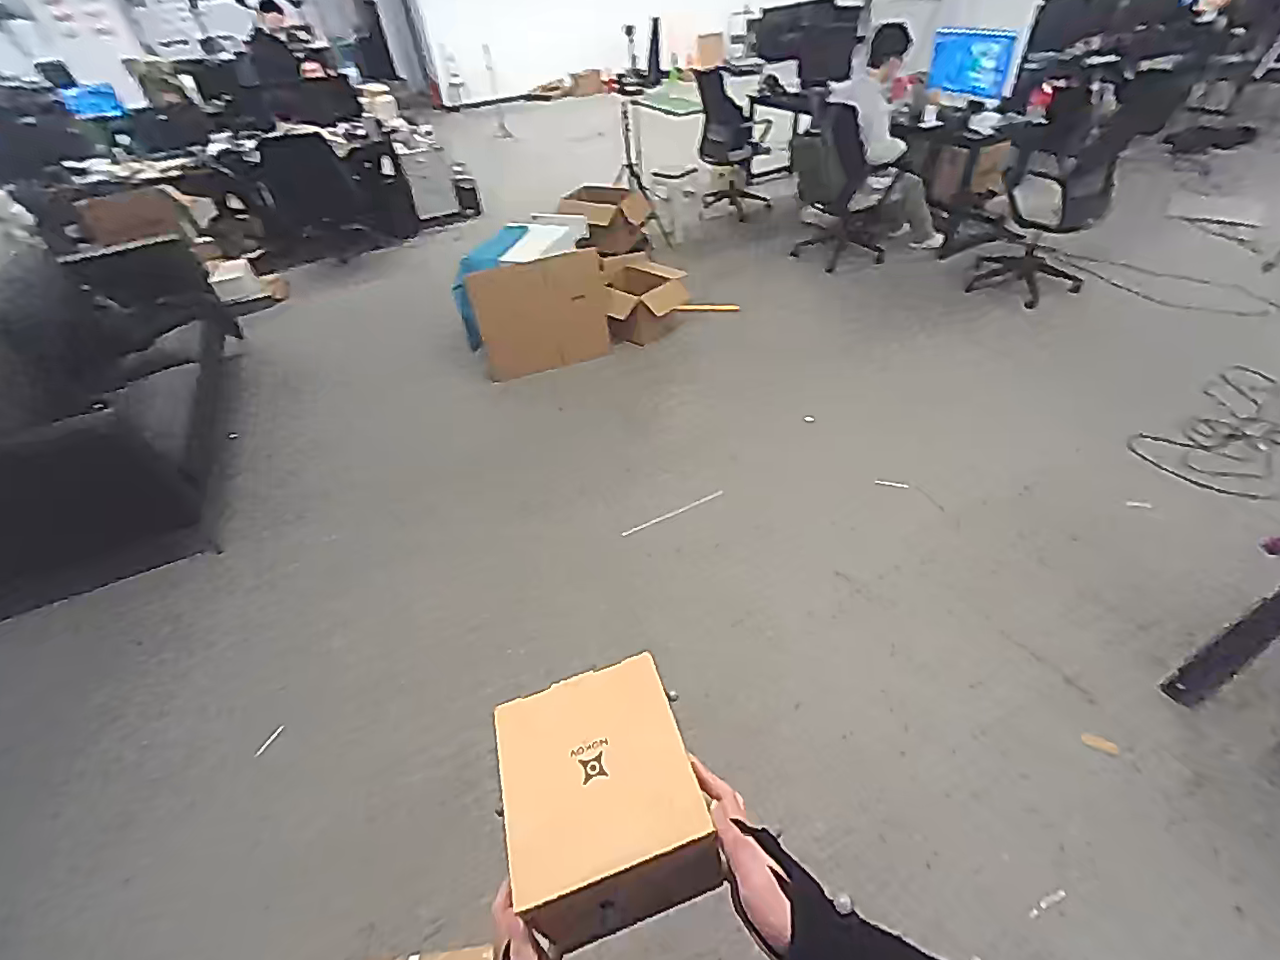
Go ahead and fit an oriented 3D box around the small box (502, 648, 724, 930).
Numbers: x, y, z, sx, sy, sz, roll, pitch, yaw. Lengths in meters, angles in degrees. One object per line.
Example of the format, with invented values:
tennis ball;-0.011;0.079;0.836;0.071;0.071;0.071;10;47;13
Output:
small box;-0.025;0.307;0.535;0.168;0.176;0.179;-18;40;-7
